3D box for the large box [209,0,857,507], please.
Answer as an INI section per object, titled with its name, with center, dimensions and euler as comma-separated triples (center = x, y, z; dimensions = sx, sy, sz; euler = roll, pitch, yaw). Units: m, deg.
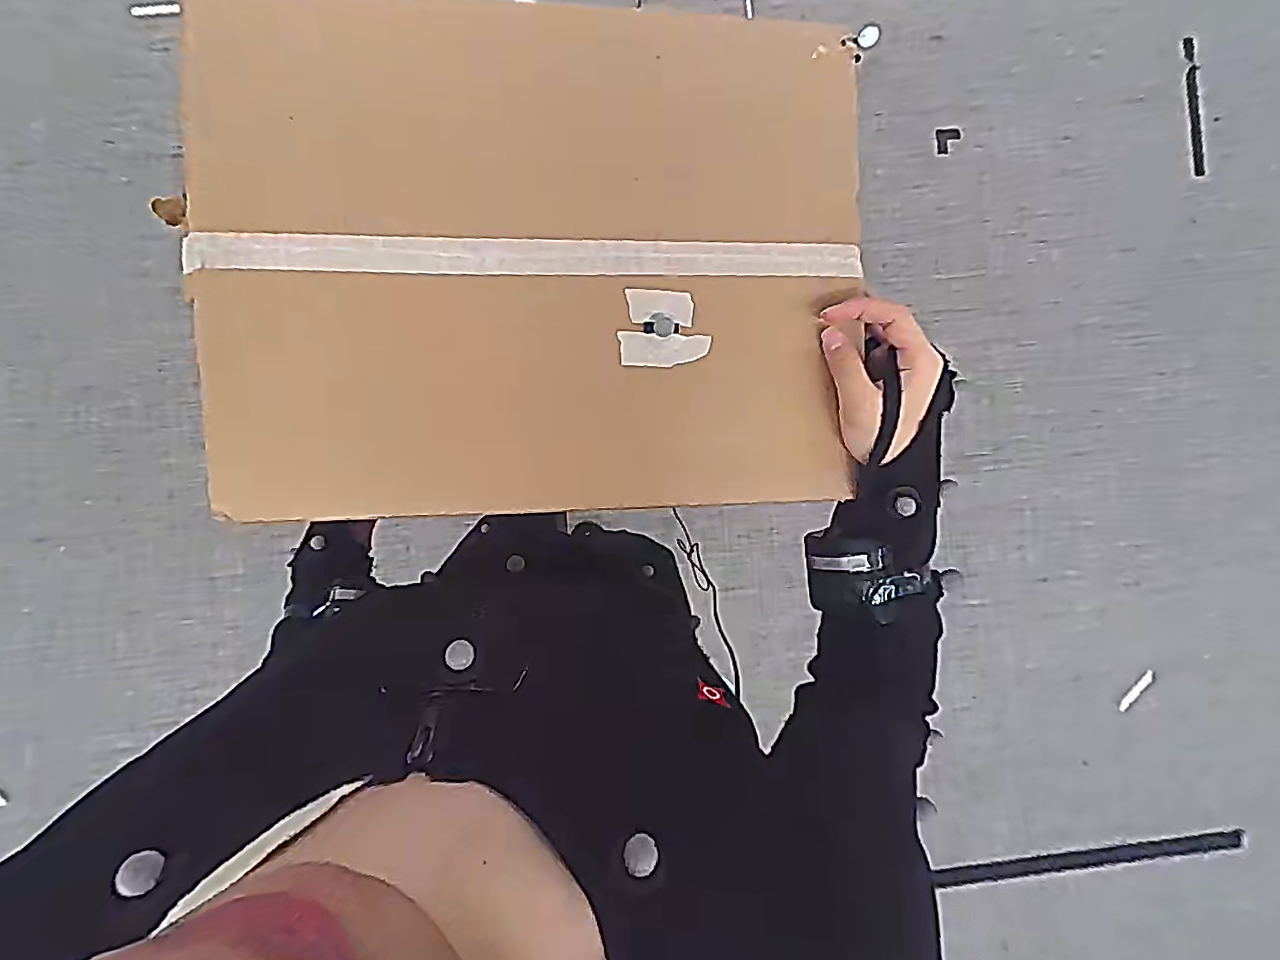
[large box]
center = -0.073, -0.149, 0.492
dimensions = 0.408, 0.320, 0.320
euler = -2, 92, -9
